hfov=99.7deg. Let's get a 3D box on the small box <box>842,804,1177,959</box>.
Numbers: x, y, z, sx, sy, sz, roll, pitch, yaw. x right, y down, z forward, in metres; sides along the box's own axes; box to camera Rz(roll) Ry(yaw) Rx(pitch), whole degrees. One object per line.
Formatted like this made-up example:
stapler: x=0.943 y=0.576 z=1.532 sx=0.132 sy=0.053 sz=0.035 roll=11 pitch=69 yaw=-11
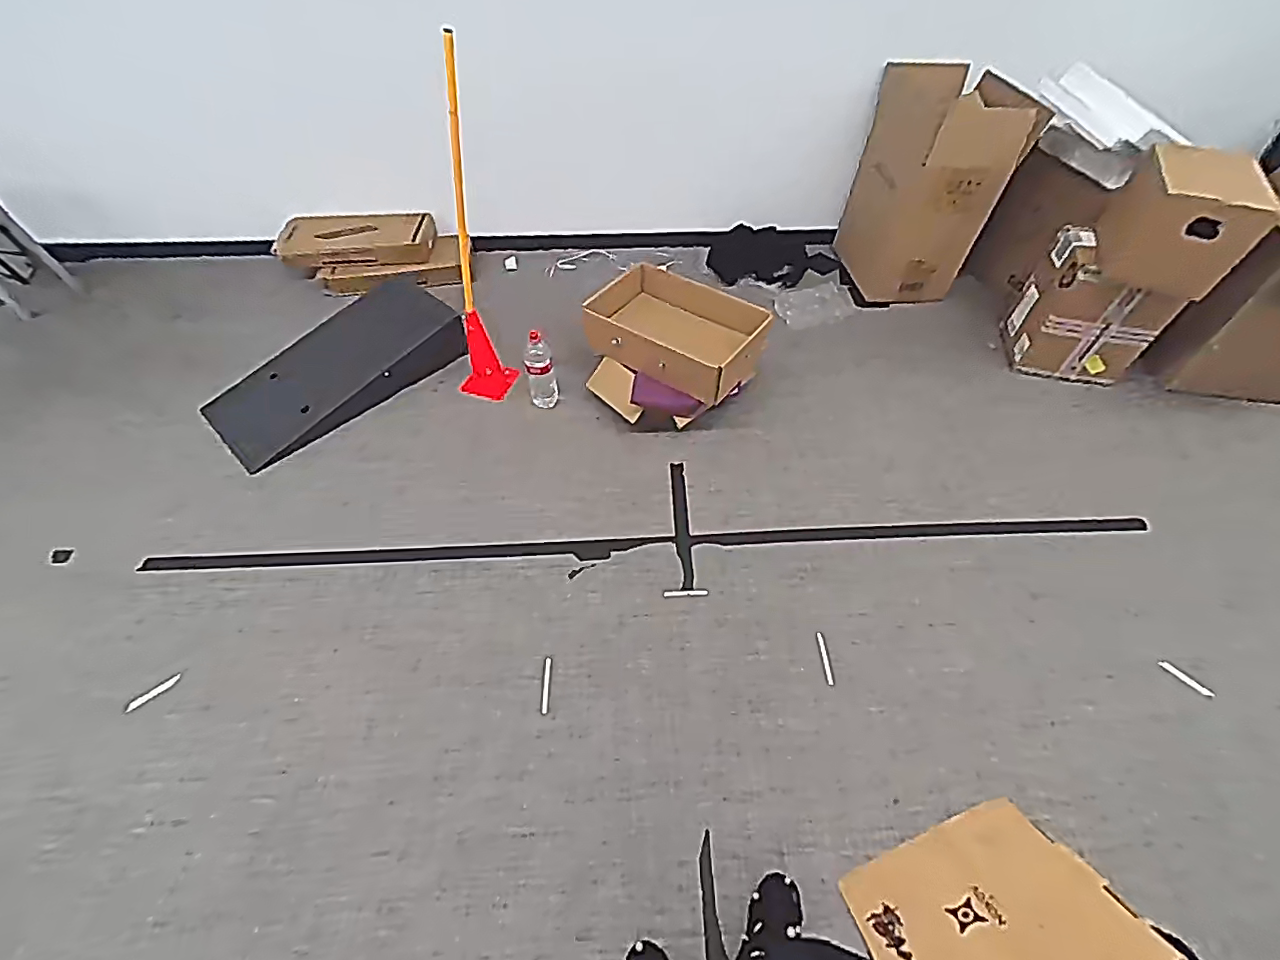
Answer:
small box: x=0.301 y=0.415 z=0.431 sx=0.179 sy=0.168 sz=0.176 roll=-25 pitch=91 yaw=-1
